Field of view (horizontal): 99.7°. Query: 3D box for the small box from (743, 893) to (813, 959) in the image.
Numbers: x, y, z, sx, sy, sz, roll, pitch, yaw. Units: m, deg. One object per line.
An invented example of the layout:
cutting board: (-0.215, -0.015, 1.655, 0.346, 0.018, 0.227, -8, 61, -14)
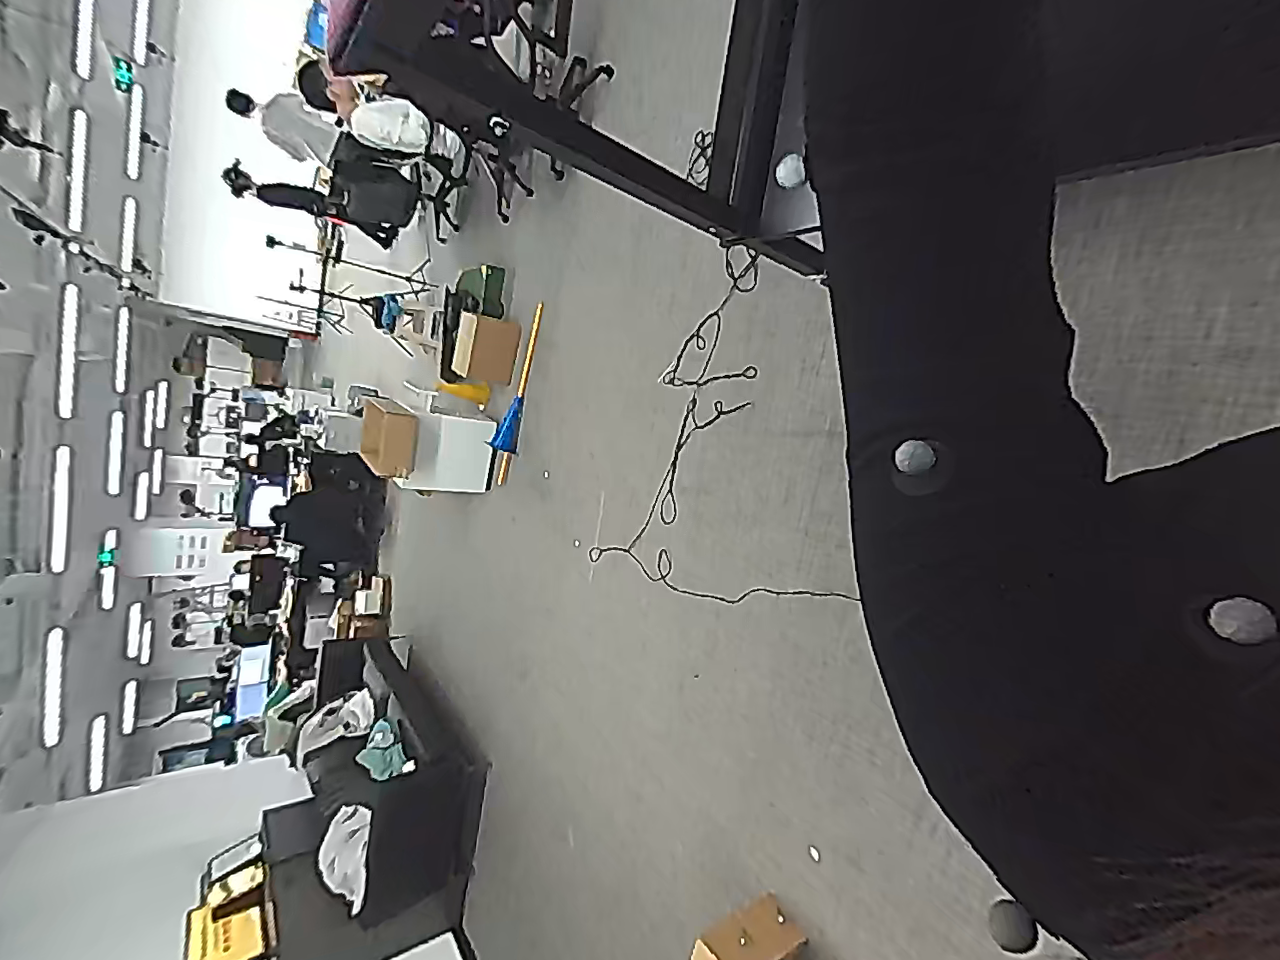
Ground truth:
small box: (0.424, 1.487, 1.728, 0.168, 0.176, 0.179, 28, 107, 49)

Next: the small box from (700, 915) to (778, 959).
small box: (0.293, 1.481, 1.628, 0.168, 0.176, 0.179, 25, 106, 49)
